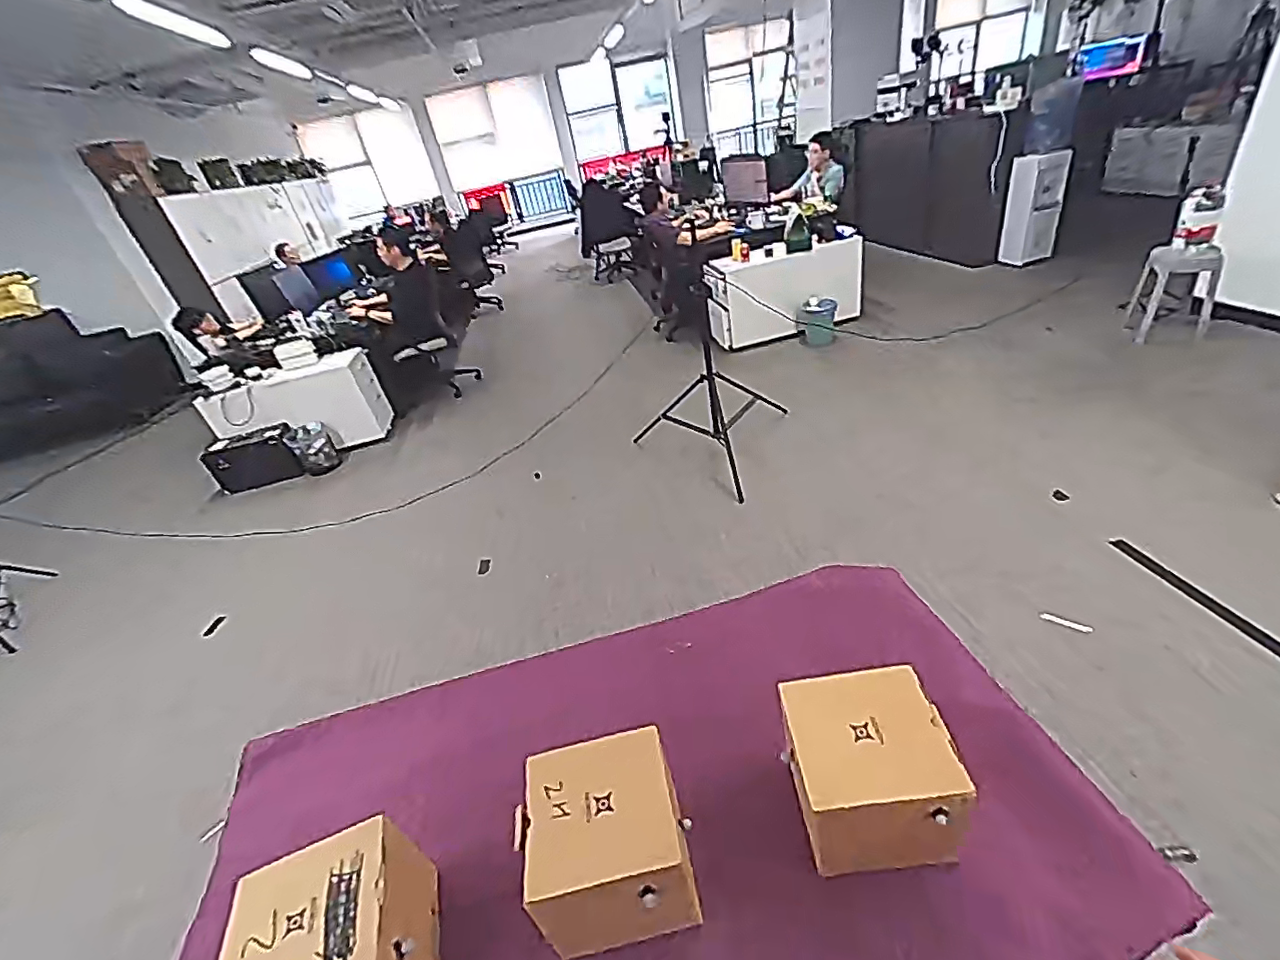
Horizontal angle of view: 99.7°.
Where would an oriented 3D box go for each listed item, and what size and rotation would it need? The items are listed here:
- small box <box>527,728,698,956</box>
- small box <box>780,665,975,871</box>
[{"bbox_3d":[-0.031,0.450,0.678,0.179,0.176,0.168,-14,32,-1],"label":"small box"},{"bbox_3d":[0.289,0.367,0.689,0.179,0.176,0.168,-10,32,5],"label":"small box"}]
